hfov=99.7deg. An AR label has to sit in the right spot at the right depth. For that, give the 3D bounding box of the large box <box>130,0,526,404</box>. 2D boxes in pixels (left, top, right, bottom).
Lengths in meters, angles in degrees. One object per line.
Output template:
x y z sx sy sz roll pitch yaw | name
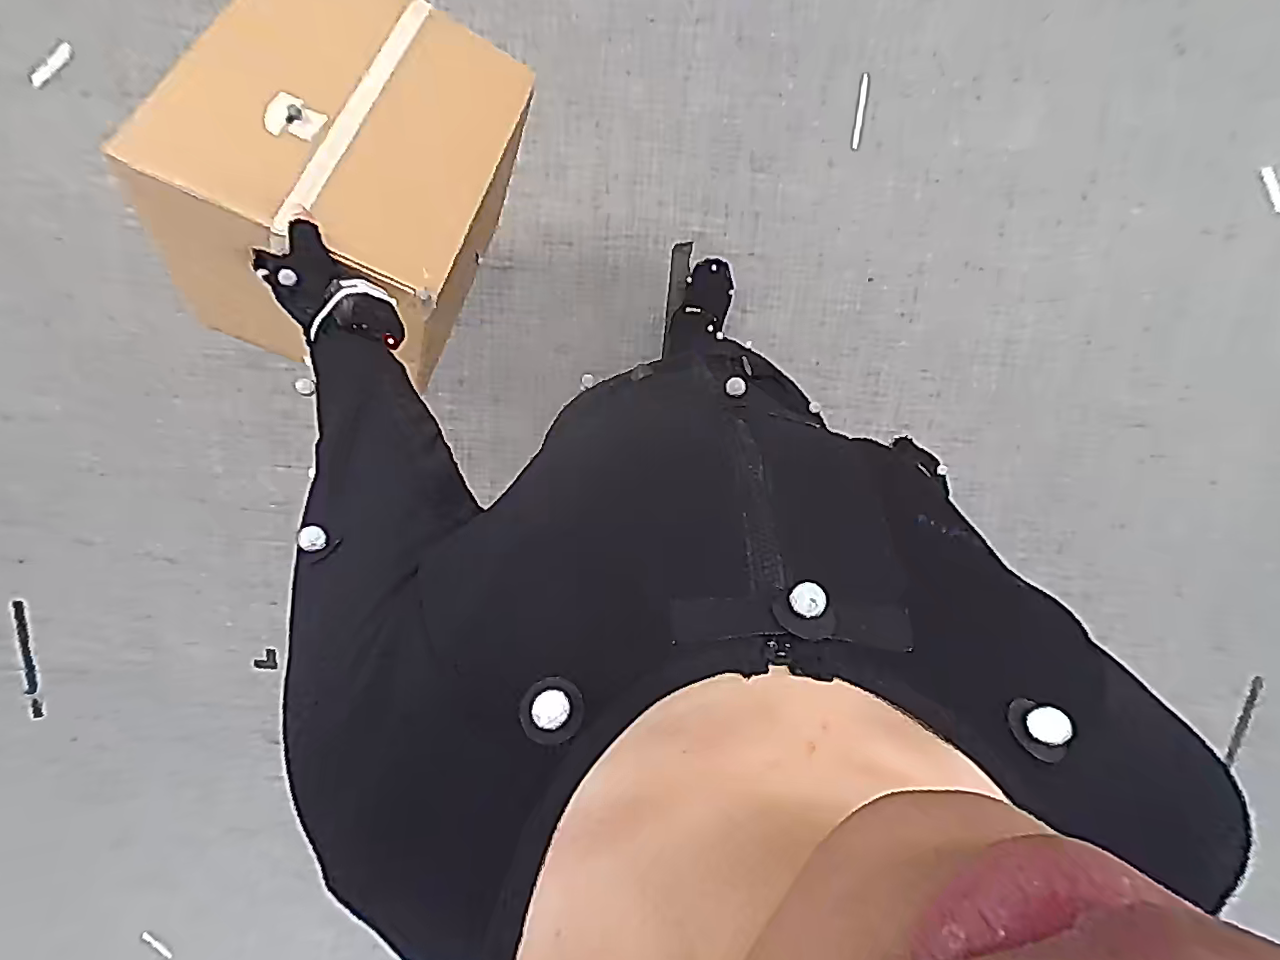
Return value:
-0.395 -0.388 0.786 0.320 0.320 0.408 21 67 -17 | large box
